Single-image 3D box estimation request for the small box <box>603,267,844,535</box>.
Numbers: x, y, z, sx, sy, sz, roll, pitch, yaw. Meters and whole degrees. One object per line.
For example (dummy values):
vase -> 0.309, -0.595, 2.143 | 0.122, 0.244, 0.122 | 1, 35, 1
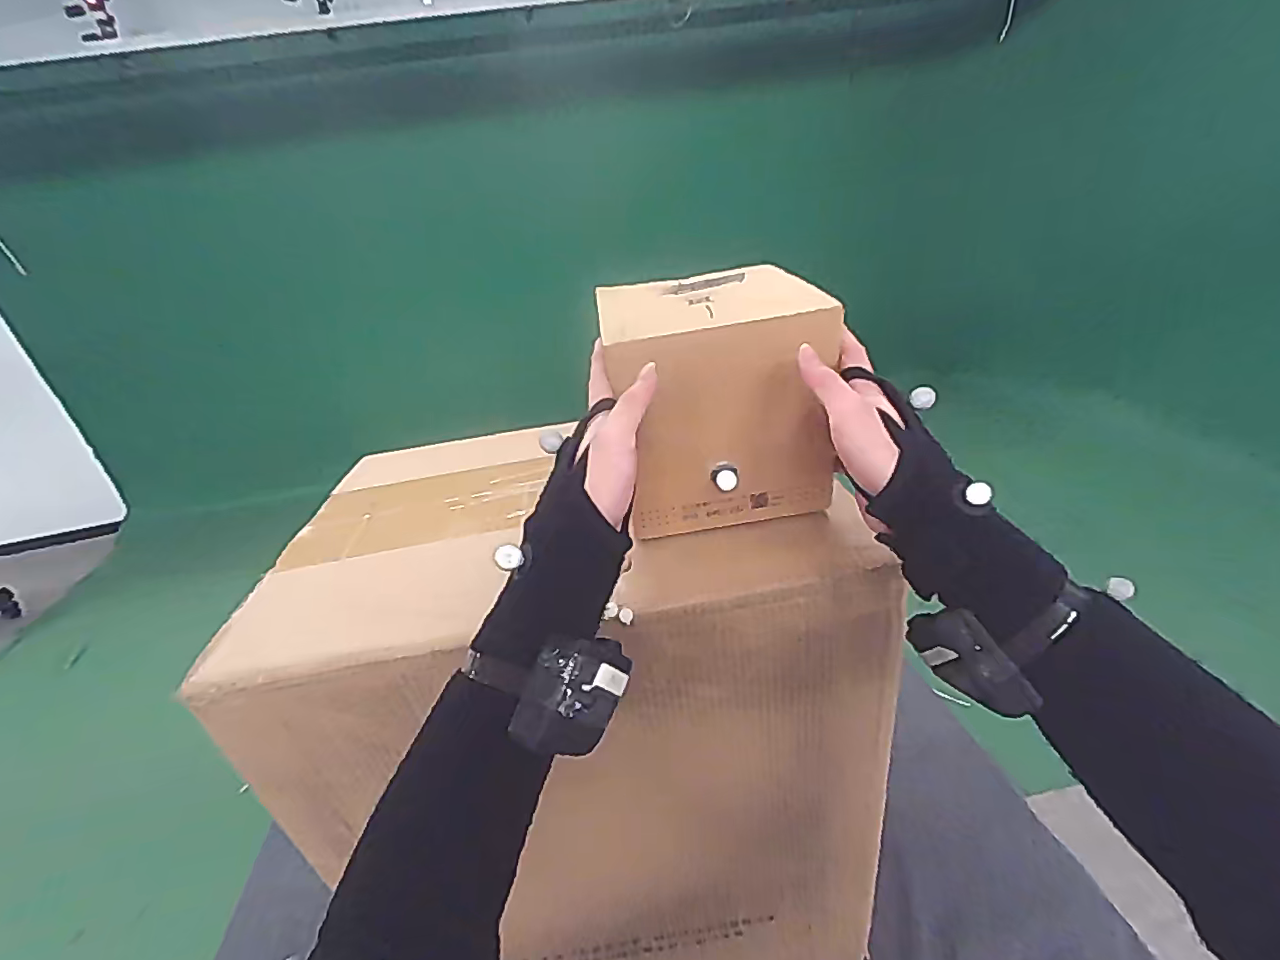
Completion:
small box -> 0.060, -0.075, 0.474 | 0.168, 0.176, 0.179 | -8, 32, 0
